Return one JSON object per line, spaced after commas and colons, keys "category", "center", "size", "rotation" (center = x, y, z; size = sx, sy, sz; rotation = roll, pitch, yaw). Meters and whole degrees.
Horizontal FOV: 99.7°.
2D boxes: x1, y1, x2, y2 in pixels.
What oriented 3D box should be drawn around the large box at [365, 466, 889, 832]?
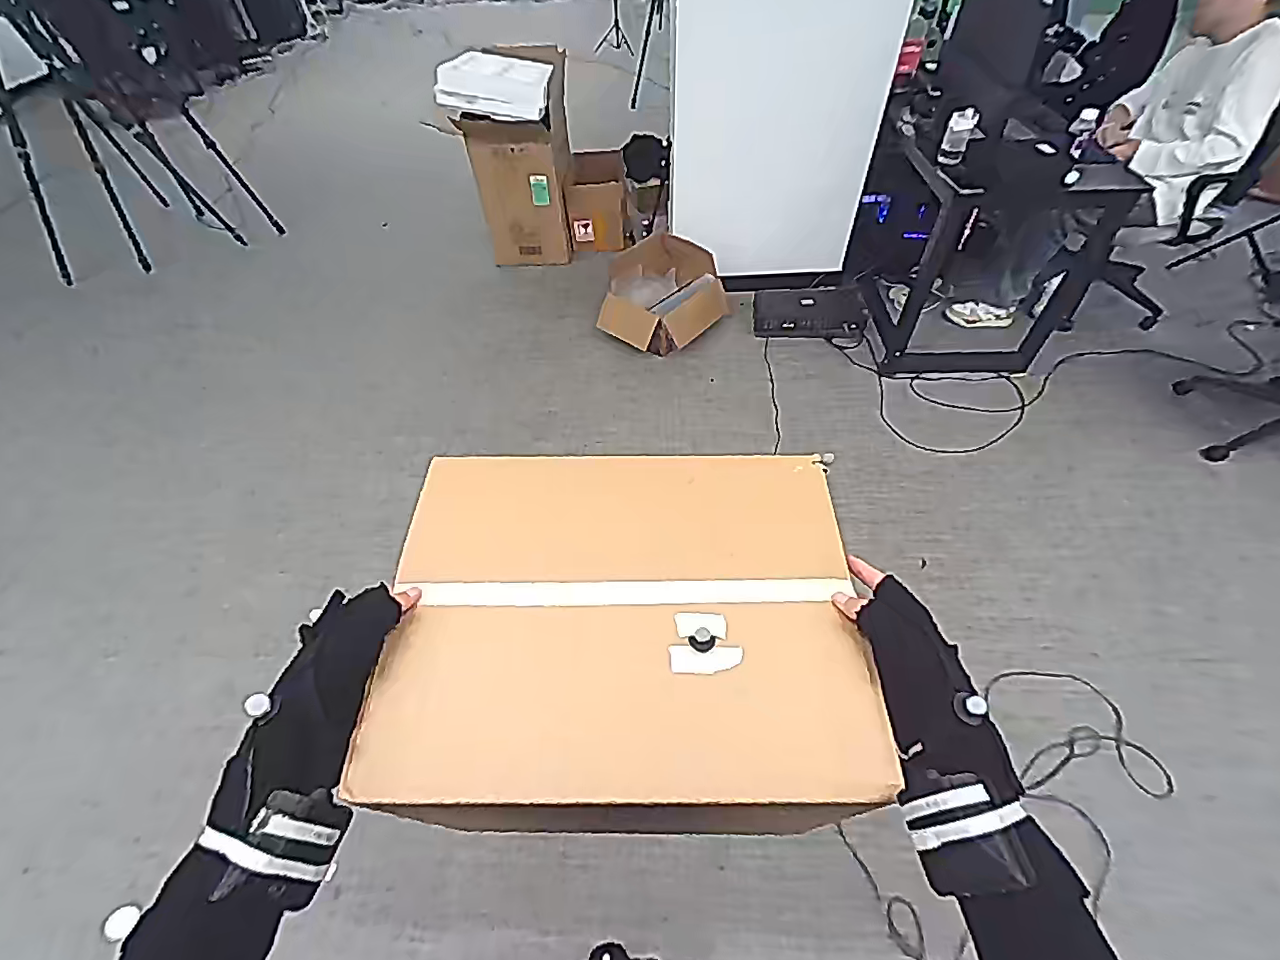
{"category": "large box", "center": [-0.011, 0.198, 0.610], "size": [0.408, 0.320, 0.320], "rotation": [0, 54, 0]}
